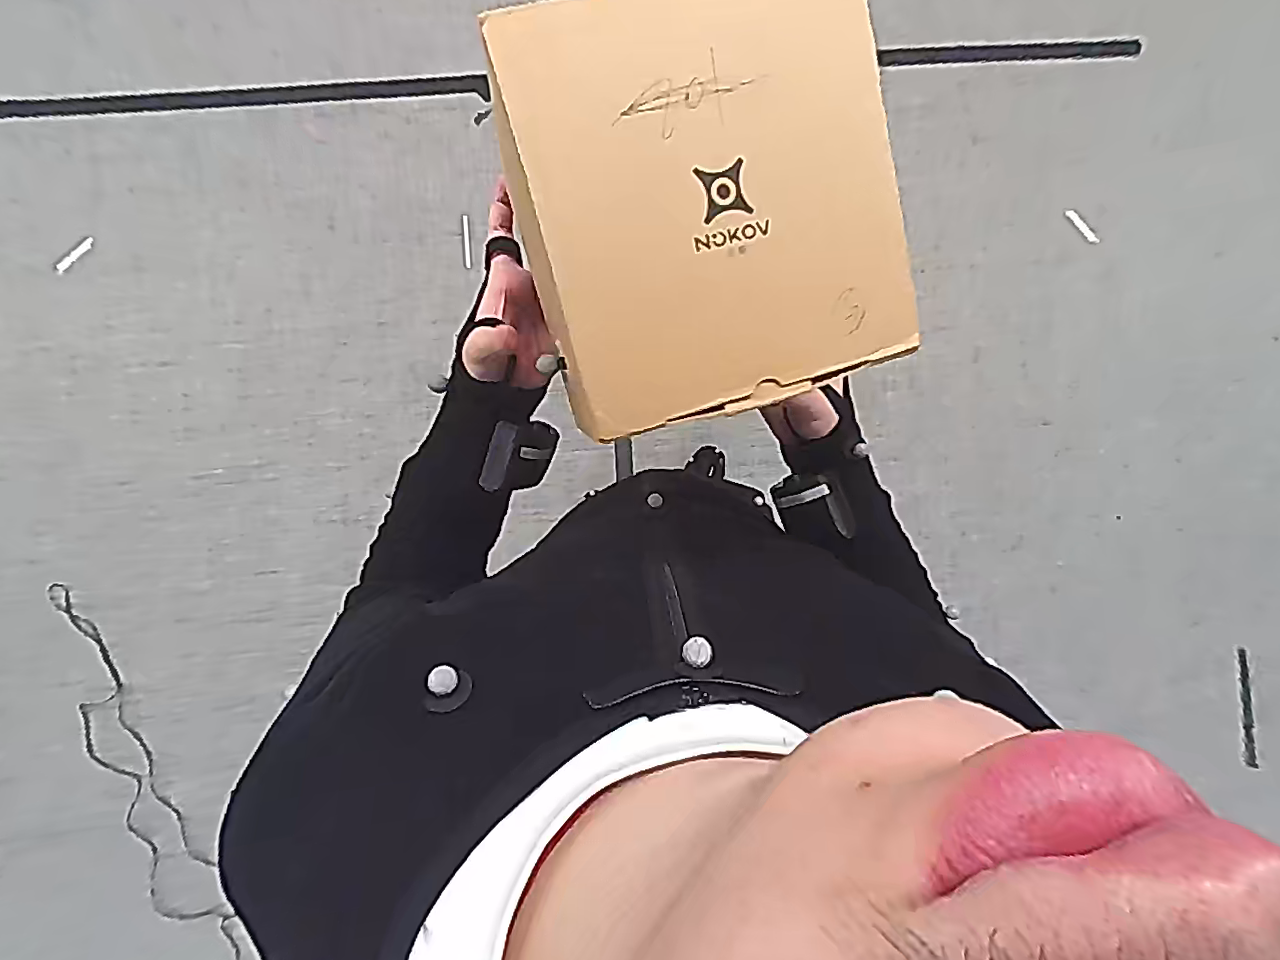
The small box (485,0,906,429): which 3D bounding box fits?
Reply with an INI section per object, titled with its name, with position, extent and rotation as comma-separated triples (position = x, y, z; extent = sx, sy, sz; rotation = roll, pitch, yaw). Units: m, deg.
[small box]
position = 0.020, -0.140, 0.324
extent = 0.168, 0.176, 0.179
rotation = -18, 100, -9
